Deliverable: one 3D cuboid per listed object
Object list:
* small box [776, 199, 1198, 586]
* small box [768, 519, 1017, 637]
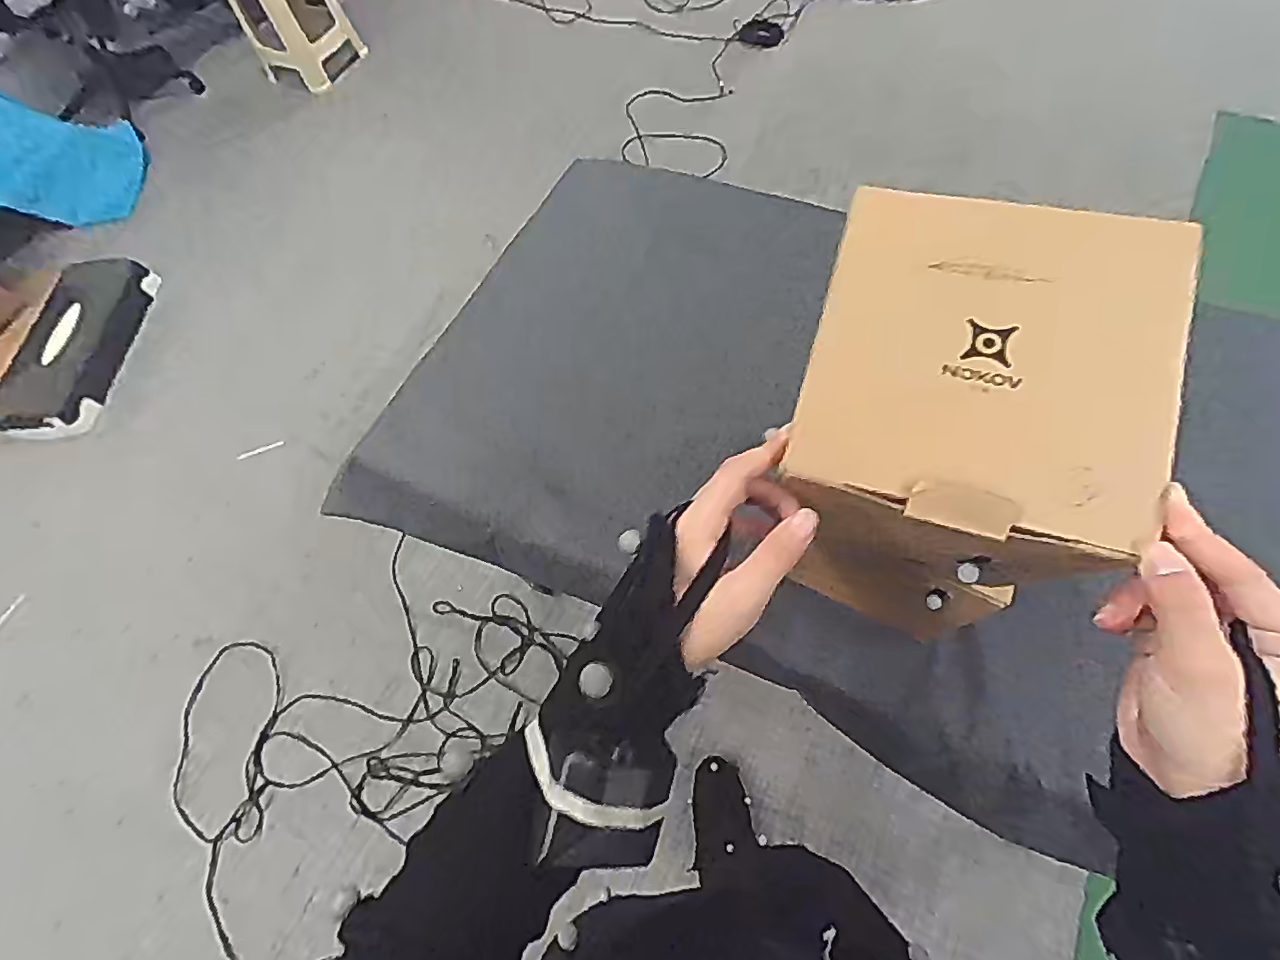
[{"bbox_3d":[0.189,-0.039,0.348,0.168,0.176,0.179,15,77,14],"label":"small box"},{"bbox_3d":[0.236,0.031,0.513,0.179,0.176,0.168,25,69,16],"label":"small box"}]
